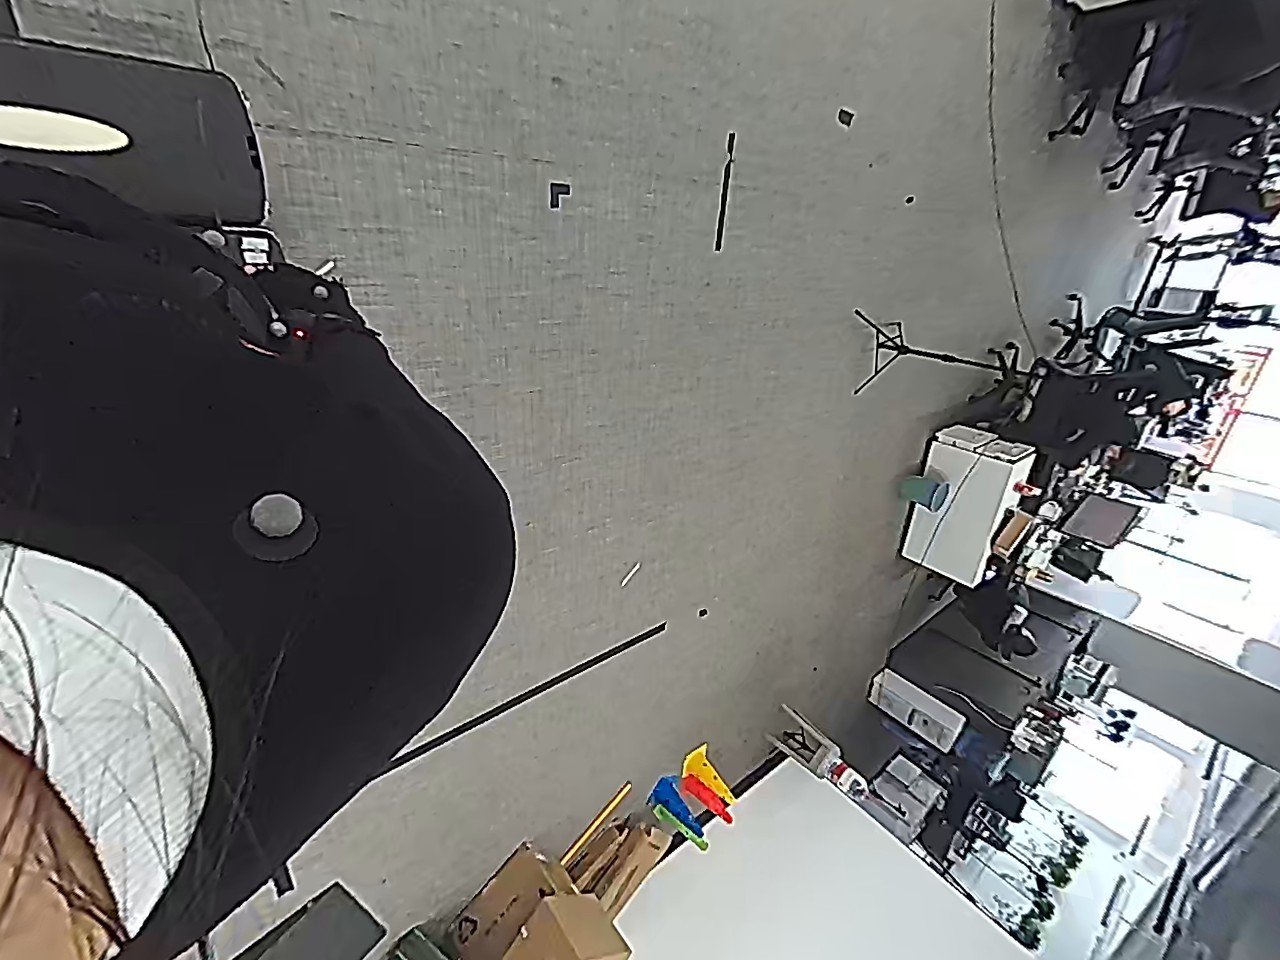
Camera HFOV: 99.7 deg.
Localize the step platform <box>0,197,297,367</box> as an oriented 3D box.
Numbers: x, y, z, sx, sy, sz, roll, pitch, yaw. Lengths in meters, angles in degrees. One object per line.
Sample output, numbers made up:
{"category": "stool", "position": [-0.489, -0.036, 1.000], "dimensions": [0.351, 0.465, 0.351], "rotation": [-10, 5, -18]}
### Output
{"category": "step platform", "position": [-1.074, -0.387, 1.053], "dimensions": [0.684, 0.204, 0.286], "rotation": [-16, 120, -34]}
